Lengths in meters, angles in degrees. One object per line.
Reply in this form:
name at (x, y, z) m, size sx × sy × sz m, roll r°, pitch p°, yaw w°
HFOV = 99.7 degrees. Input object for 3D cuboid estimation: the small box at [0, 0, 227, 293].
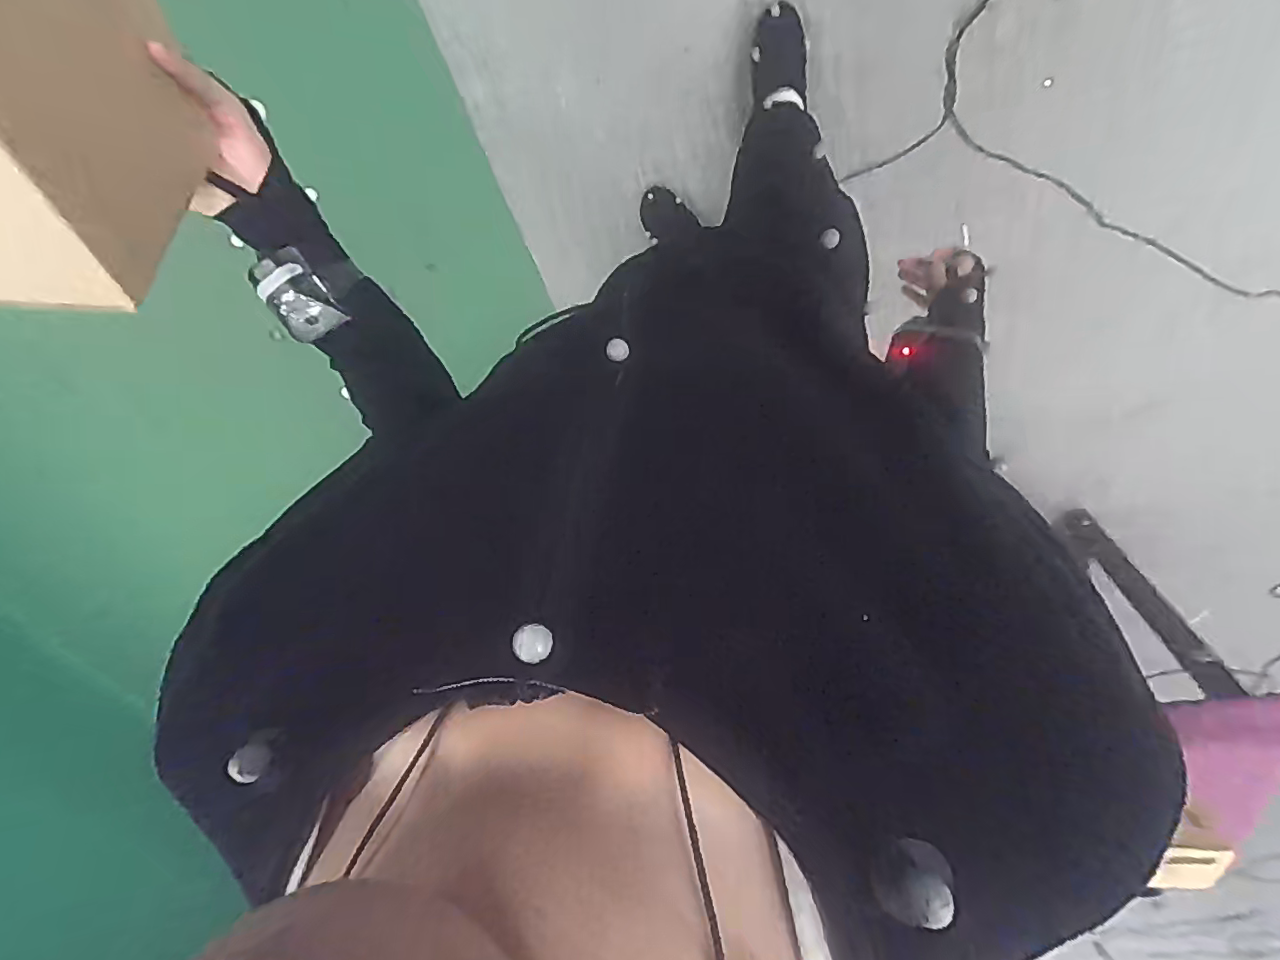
small box at (-0.330, -0.207, 0.229) m, size 0.179 × 0.168 × 0.176 m, roll 1°, pitch 151°, yaw -12°
